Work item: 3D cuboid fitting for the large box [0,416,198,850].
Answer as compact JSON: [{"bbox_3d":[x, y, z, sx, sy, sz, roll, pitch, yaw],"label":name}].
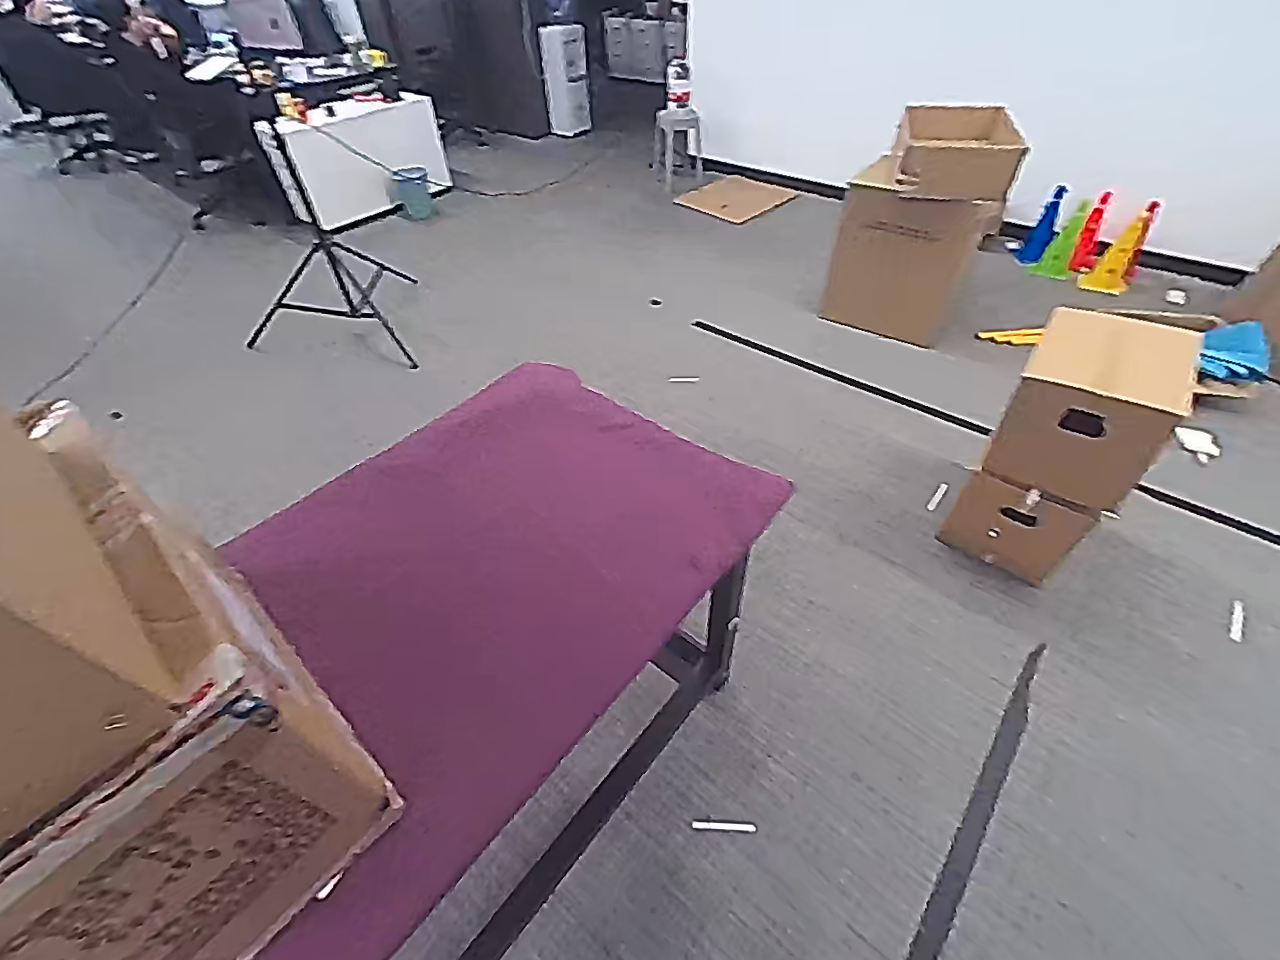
[{"bbox_3d":[-0.546,0.041,0.271,0.408,0.320,0.320,30,55,27],"label":"large box"}]
